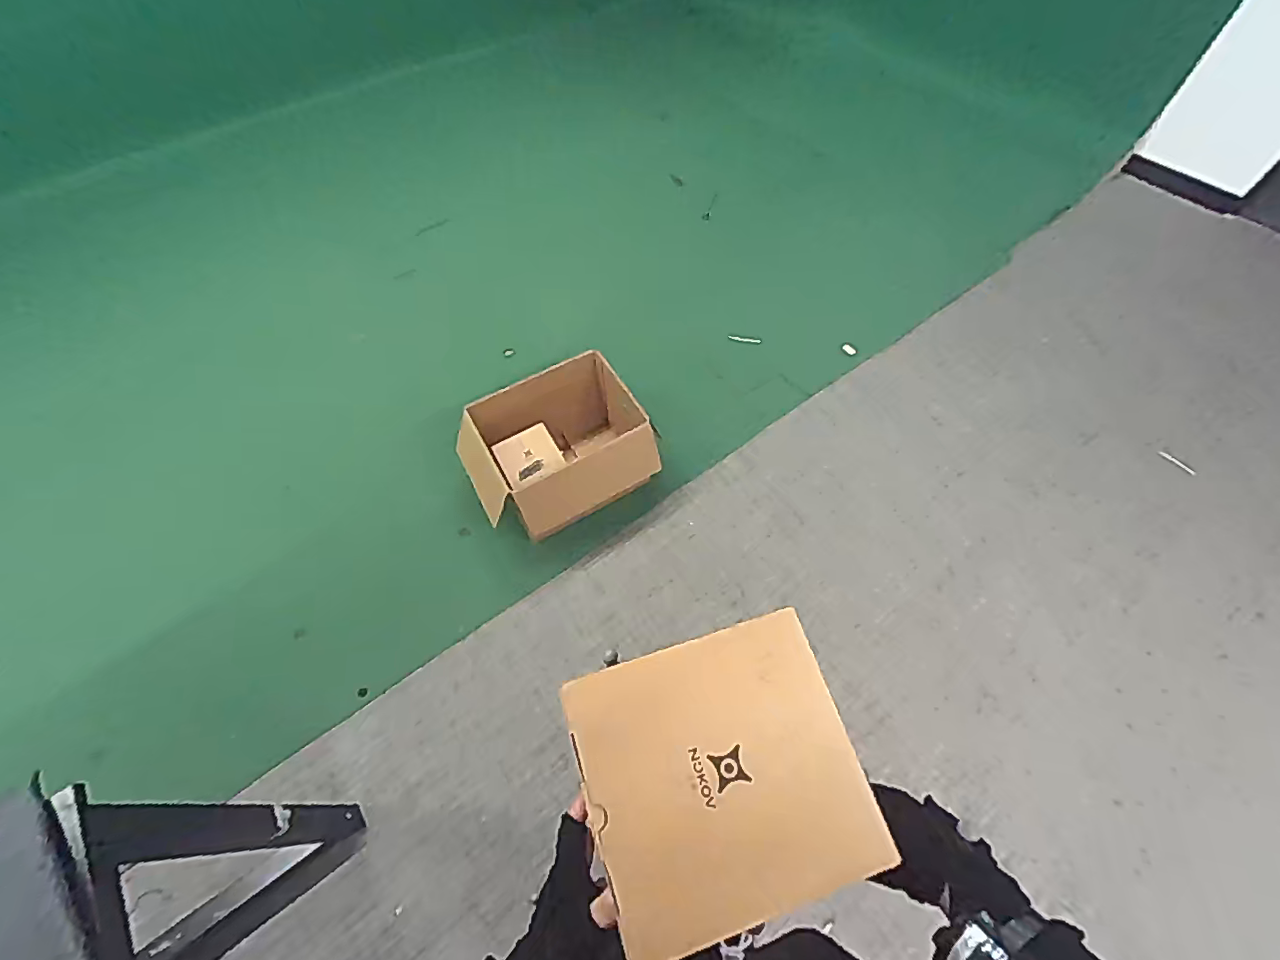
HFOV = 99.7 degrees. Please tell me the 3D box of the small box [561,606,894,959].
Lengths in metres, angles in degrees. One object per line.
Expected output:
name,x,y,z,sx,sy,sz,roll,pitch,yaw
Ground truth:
small box,0.049,0.211,0.419,0.179,0.176,0.168,-17,69,-8
